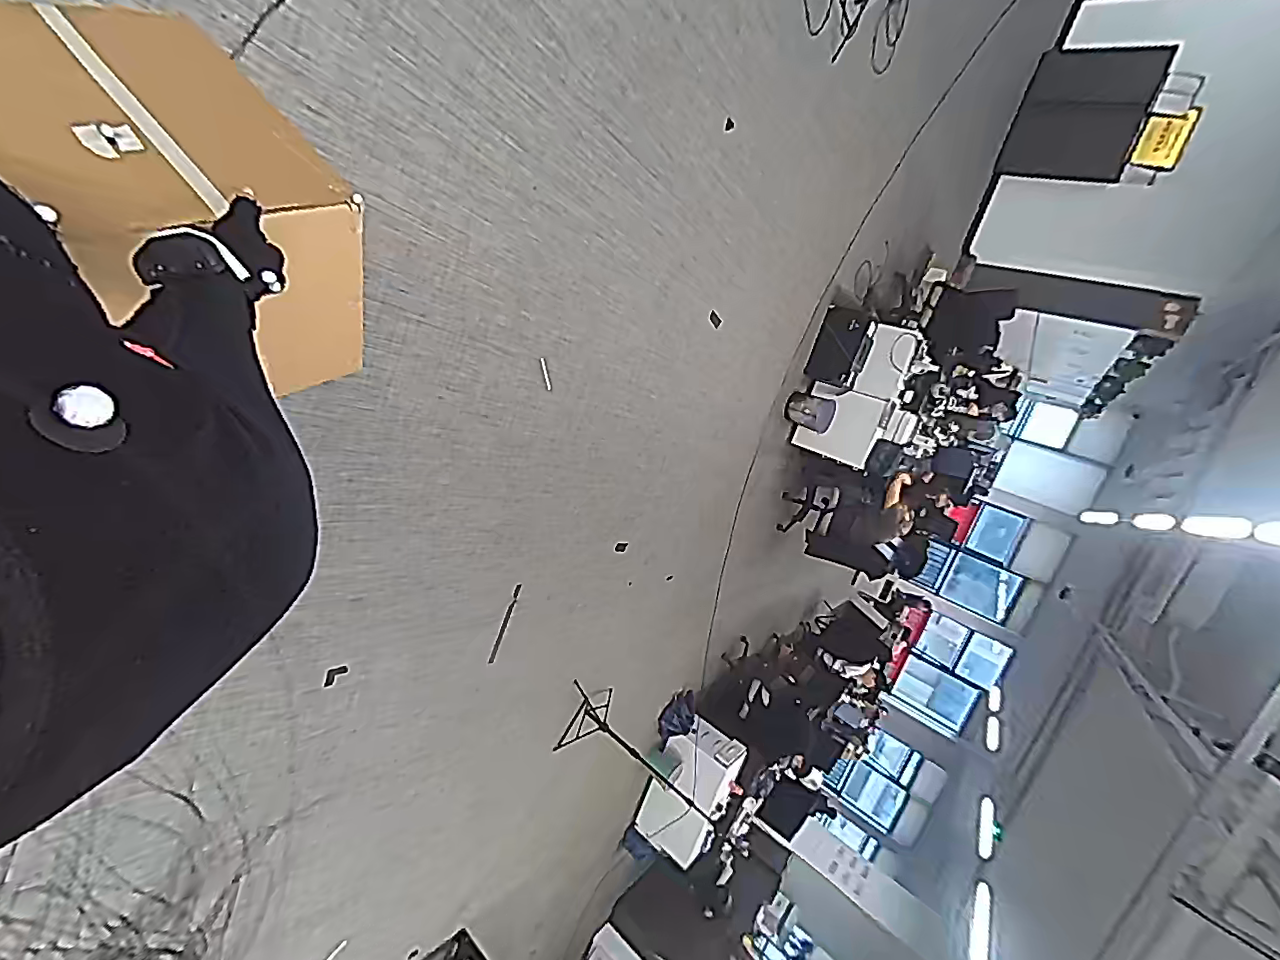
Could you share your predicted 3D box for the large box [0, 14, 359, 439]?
[{"bbox_3d":[-0.651,-0.337,0.742,0.320,0.408,0.320,-36,170,-39],"label":"large box"}]
